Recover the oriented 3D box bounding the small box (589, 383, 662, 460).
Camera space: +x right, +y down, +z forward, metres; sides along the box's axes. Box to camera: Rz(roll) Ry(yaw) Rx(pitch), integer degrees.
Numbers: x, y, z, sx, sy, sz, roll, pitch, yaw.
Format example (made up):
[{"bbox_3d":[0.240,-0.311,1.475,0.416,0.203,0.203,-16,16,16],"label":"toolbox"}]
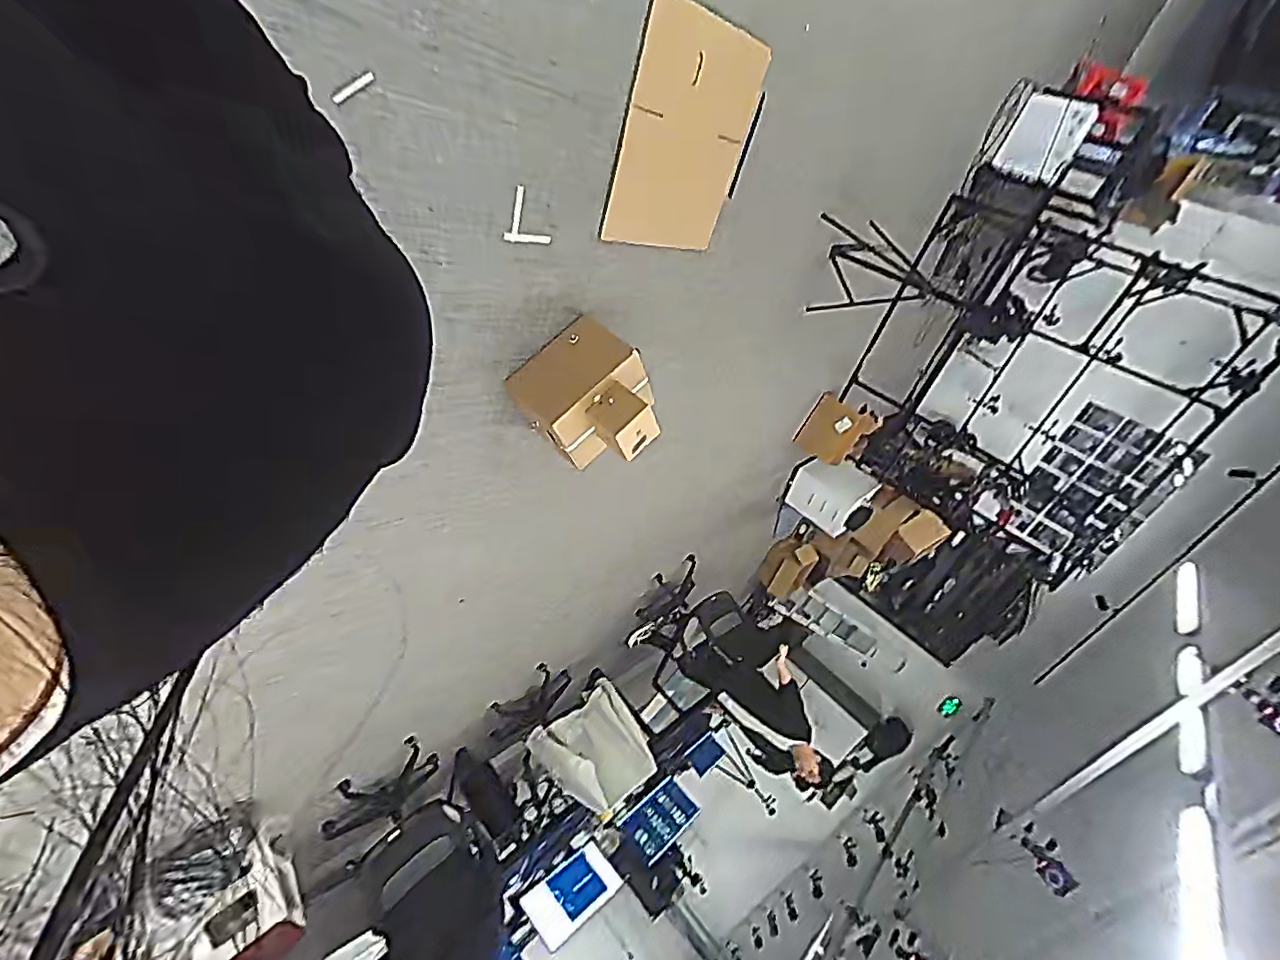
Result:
[{"bbox_3d":[-0.051,-0.209,1.904,0.168,0.176,0.179,-44,149,-10],"label":"small box"}]
